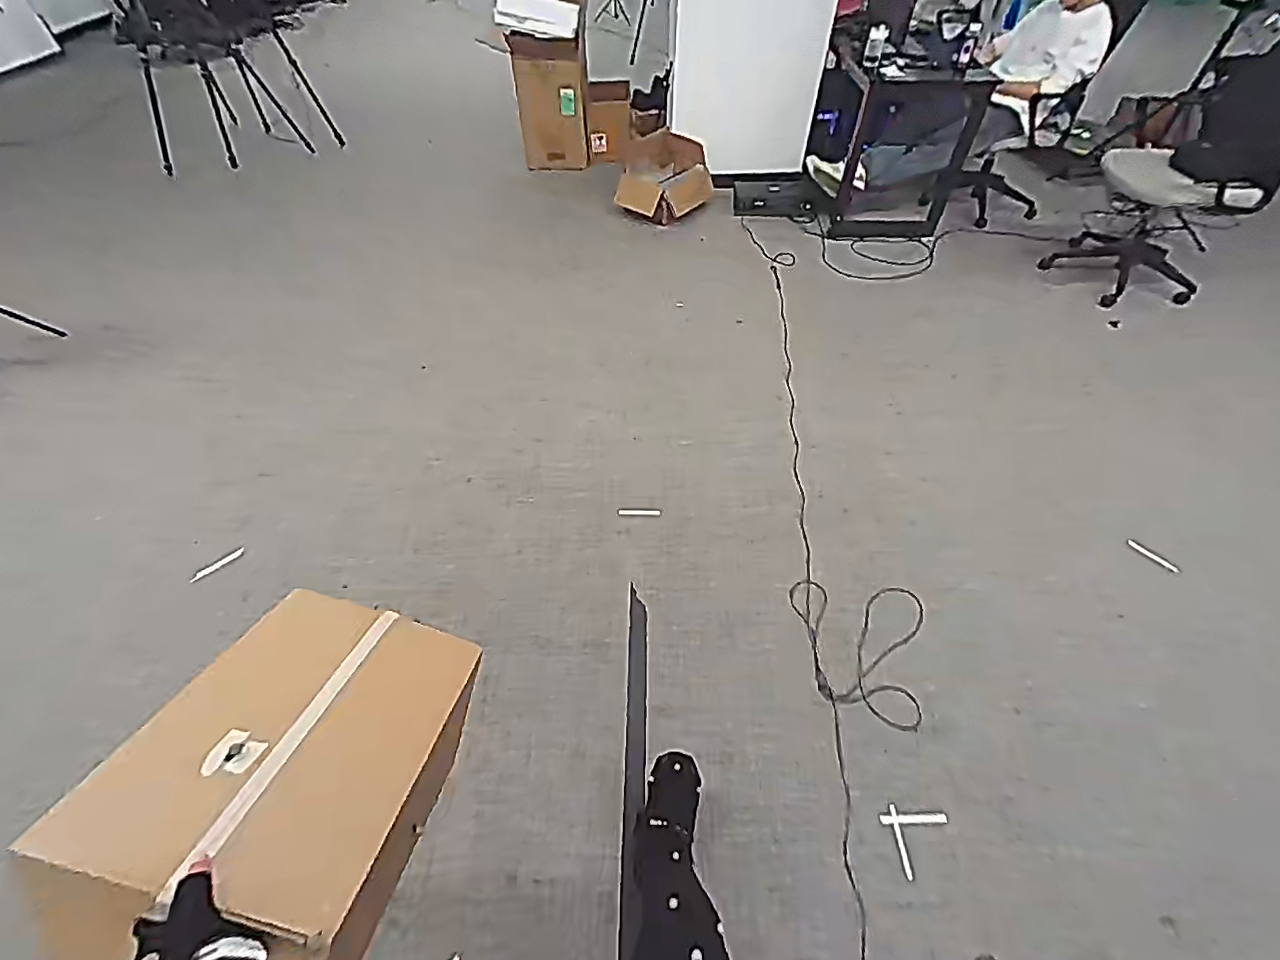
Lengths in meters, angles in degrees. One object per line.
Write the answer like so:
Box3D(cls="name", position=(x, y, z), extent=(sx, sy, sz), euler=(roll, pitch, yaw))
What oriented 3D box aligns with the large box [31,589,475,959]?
Box3D(cls="large box", position=(-0.478, 0.437, 0.772), extent=(0.320, 0.320, 0.408), euler=(19, 28, -3))
